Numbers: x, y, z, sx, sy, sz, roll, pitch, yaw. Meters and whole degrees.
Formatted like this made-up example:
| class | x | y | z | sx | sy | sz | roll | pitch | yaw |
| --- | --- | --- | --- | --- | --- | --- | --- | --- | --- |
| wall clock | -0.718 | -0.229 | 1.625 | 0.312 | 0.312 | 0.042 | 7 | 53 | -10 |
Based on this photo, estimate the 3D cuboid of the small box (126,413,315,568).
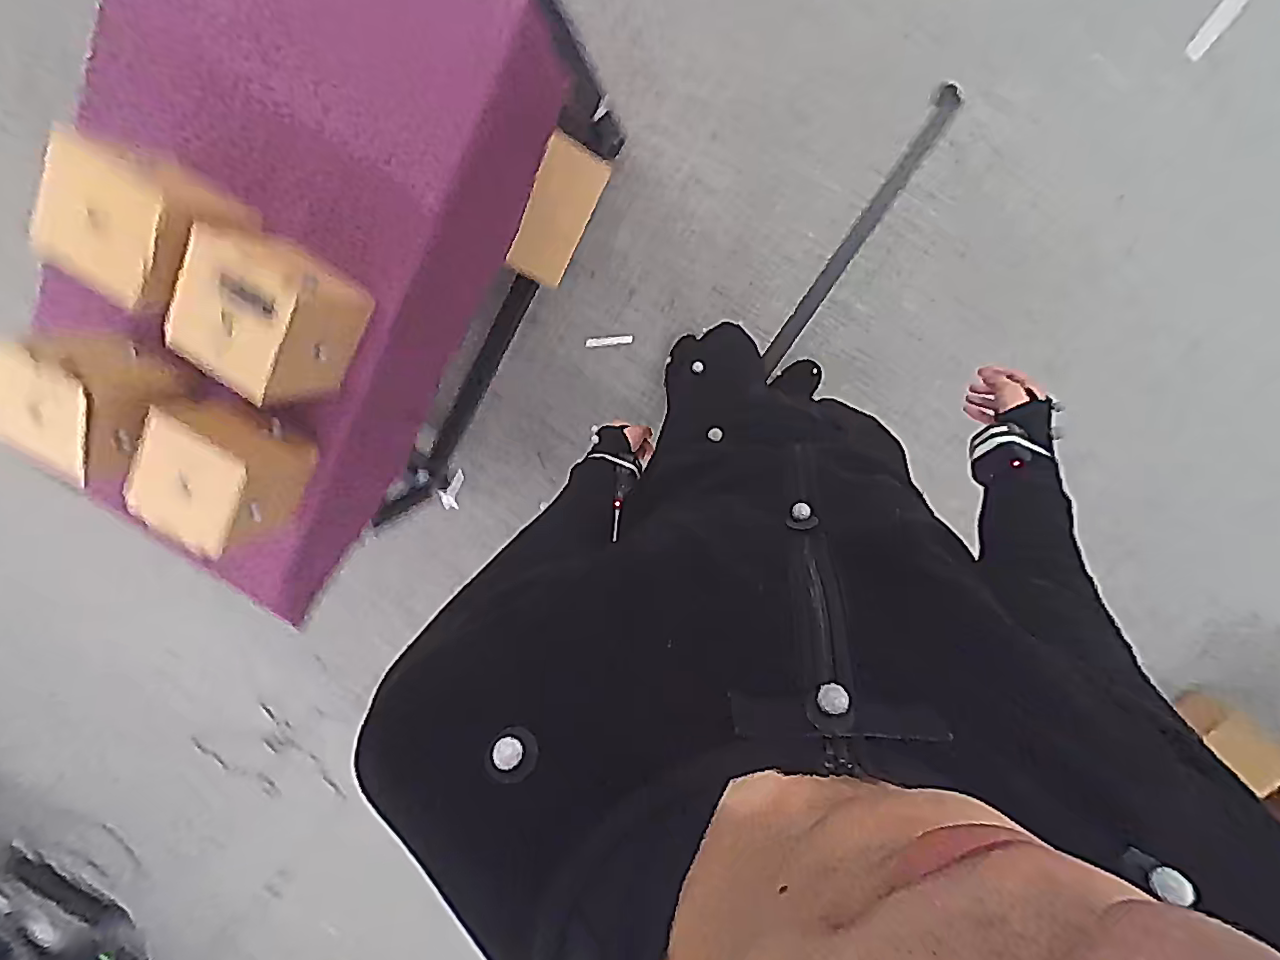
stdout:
| class | x | y | z | sx | sy | sz | roll | pitch | yaw |
| --- | --- | --- | --- | --- | --- | --- | --- | --- | --- |
| small box | -0.688 | 0.009 | 0.904 | 0.168 | 0.176 | 0.179 | 30 | 106 | -1 |

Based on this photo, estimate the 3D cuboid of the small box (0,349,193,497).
| class | x | y | z | sx | sy | sz | roll | pitch | yaw |
| --- | --- | --- | --- | --- | --- | --- | --- | --- | --- |
| small box | -0.902 | -0.103 | 0.902 | 0.168 | 0.176 | 0.179 | 28 | 106 | -1 |
